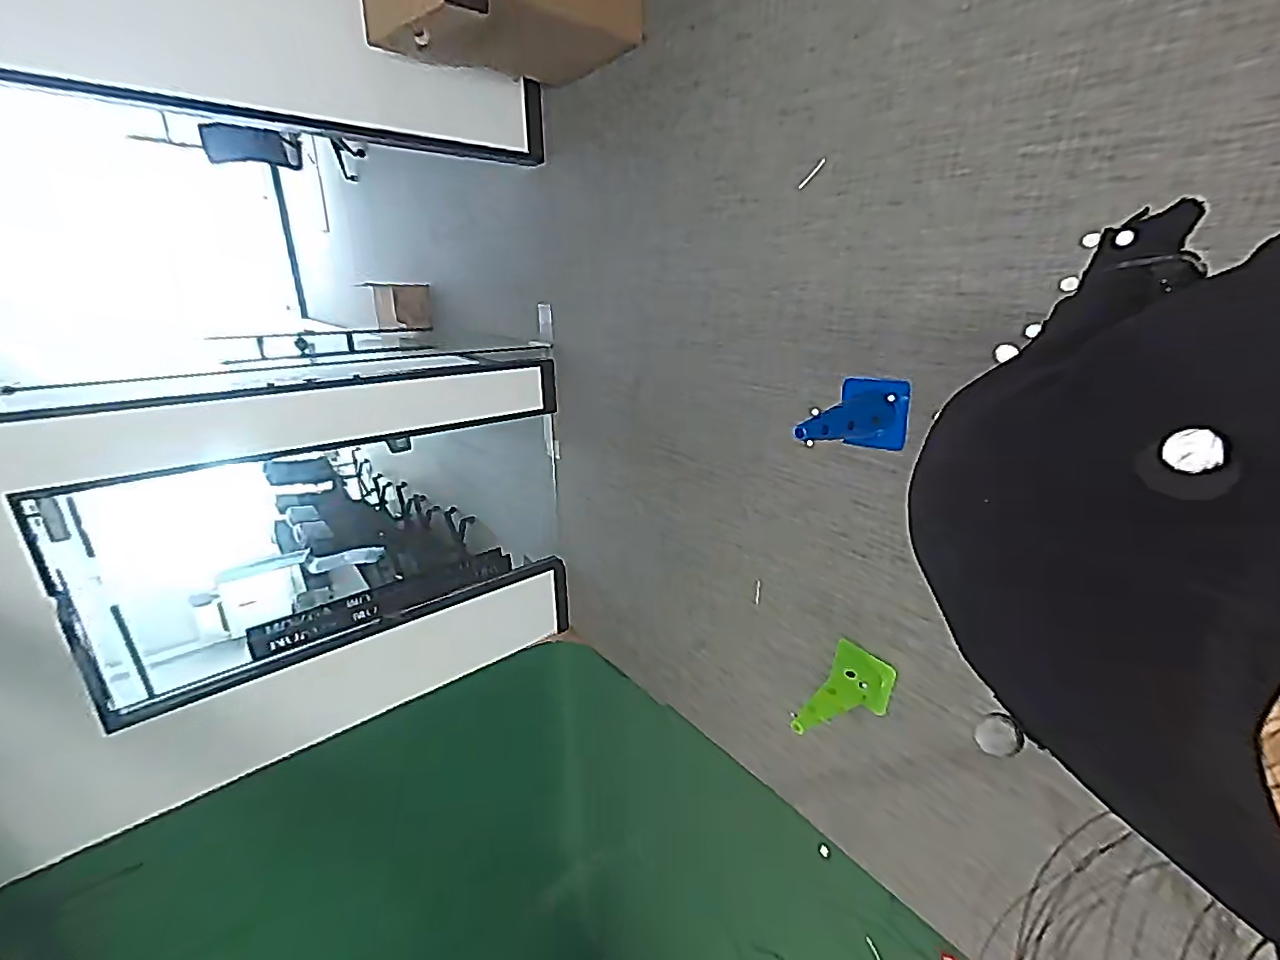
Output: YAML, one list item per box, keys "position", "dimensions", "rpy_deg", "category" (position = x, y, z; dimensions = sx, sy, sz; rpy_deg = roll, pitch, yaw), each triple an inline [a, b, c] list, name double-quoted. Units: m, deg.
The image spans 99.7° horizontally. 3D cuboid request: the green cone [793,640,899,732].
- position: [0.601, 0.681, 1.664]
  dimensions: [0.200, 0.368, 0.202]
  rpy_deg: [27, 121, 46]
  category: "green cone"
